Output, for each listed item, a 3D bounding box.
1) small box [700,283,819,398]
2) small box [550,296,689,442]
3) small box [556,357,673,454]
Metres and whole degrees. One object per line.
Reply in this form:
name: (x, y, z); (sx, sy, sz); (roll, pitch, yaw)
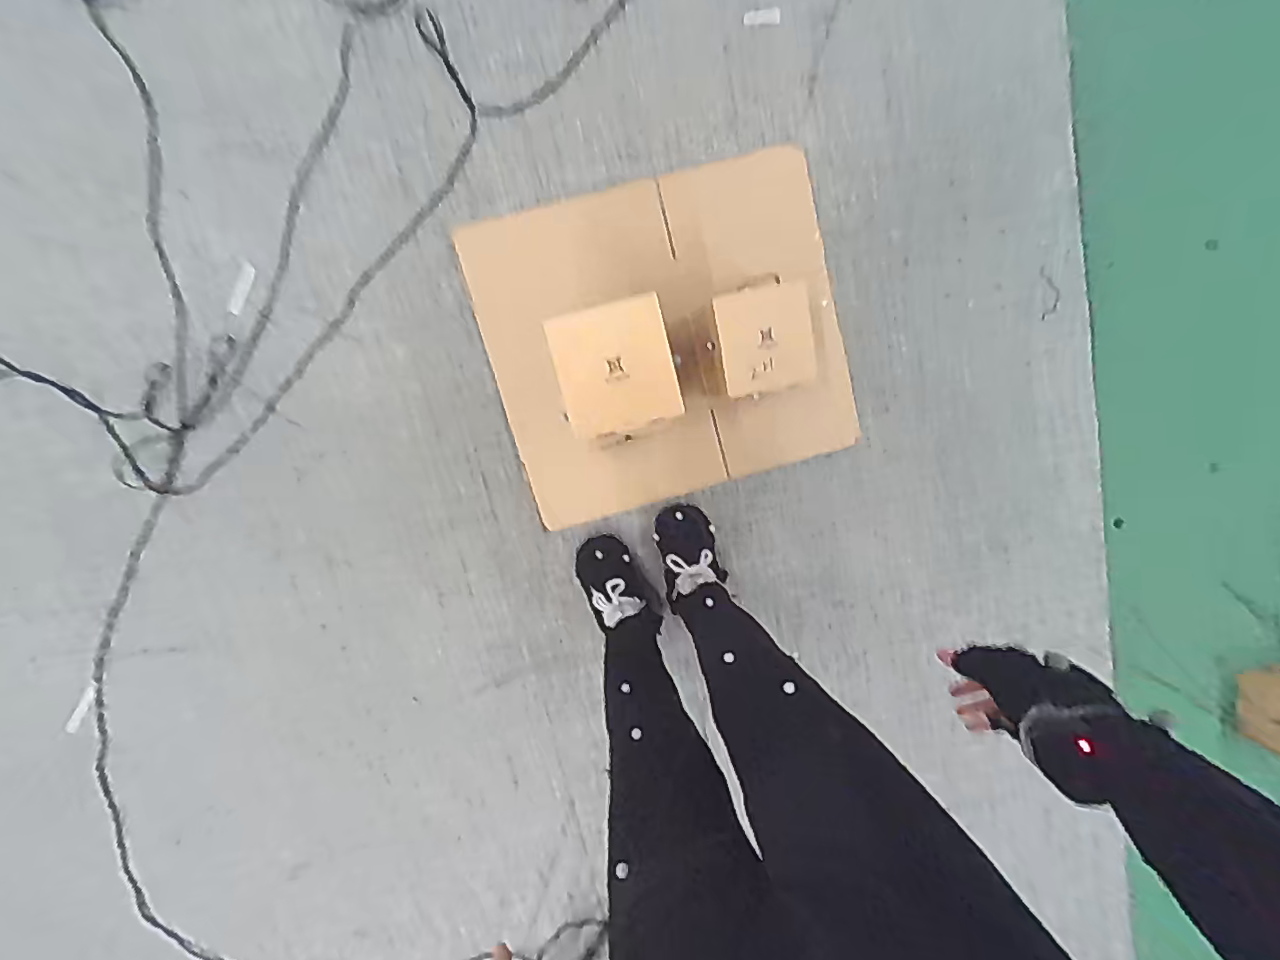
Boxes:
small box: (0.216, -0.254, 1.017); (0.168, 0.176, 0.179); (-11, 100, -2)
small box: (-0.036, -0.166, 0.841); (0.168, 0.176, 0.179); (-15, 100, -3)
small box: (-0.047, -0.162, 1.005); (0.168, 0.176, 0.179); (-18, 100, -2)
